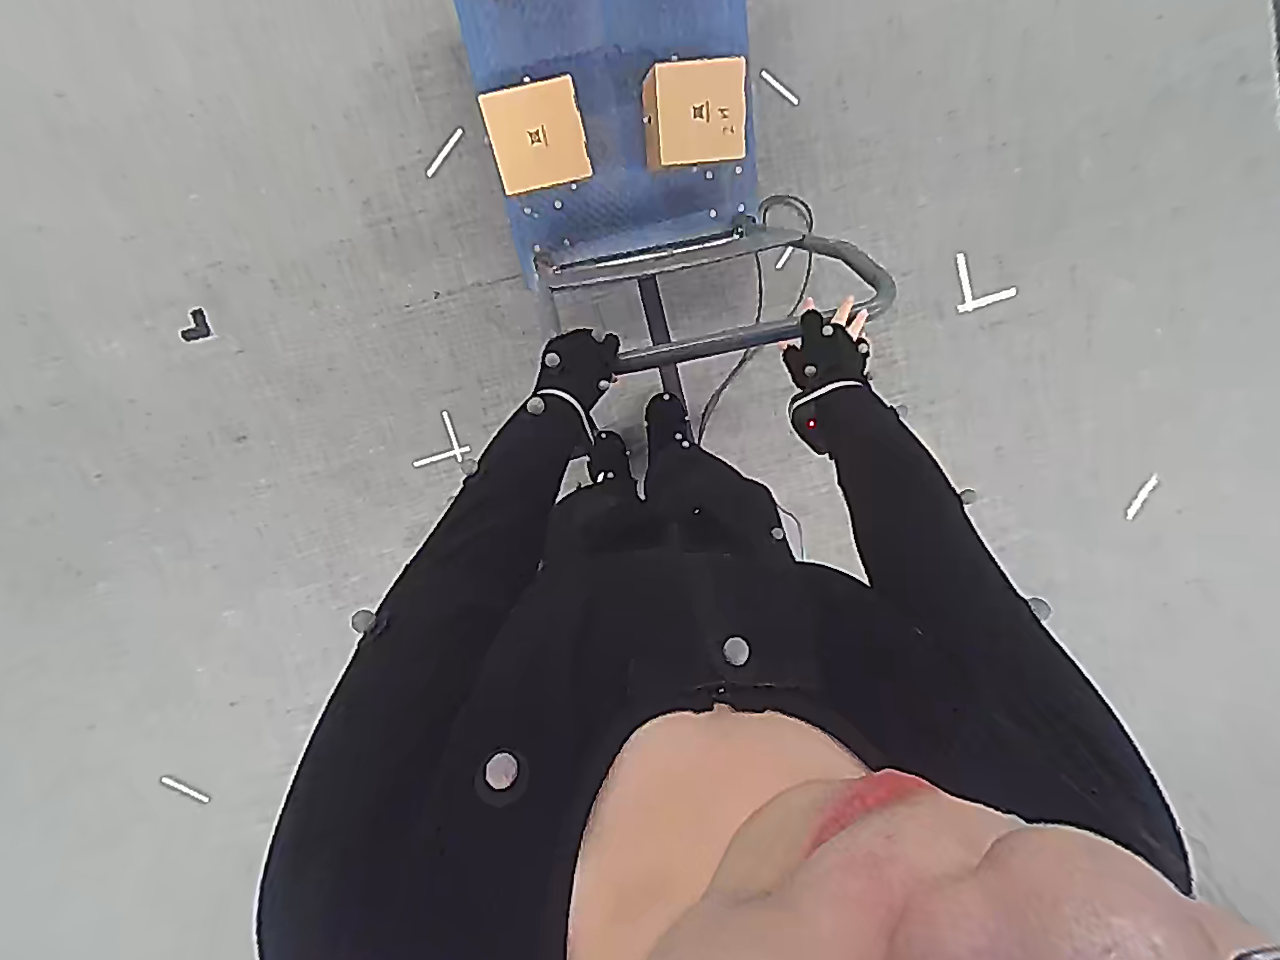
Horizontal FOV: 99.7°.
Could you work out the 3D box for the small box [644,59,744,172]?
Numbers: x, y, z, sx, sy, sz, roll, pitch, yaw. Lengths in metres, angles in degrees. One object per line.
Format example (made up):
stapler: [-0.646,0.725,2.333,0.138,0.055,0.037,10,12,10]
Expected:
small box: [0.104,-0.735,1.105,0.179,0.176,0.168,-8,117,-6]

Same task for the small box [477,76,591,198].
small box: [-0.207,-0.673,1.081,0.179,0.176,0.168,-16,117,-3]
